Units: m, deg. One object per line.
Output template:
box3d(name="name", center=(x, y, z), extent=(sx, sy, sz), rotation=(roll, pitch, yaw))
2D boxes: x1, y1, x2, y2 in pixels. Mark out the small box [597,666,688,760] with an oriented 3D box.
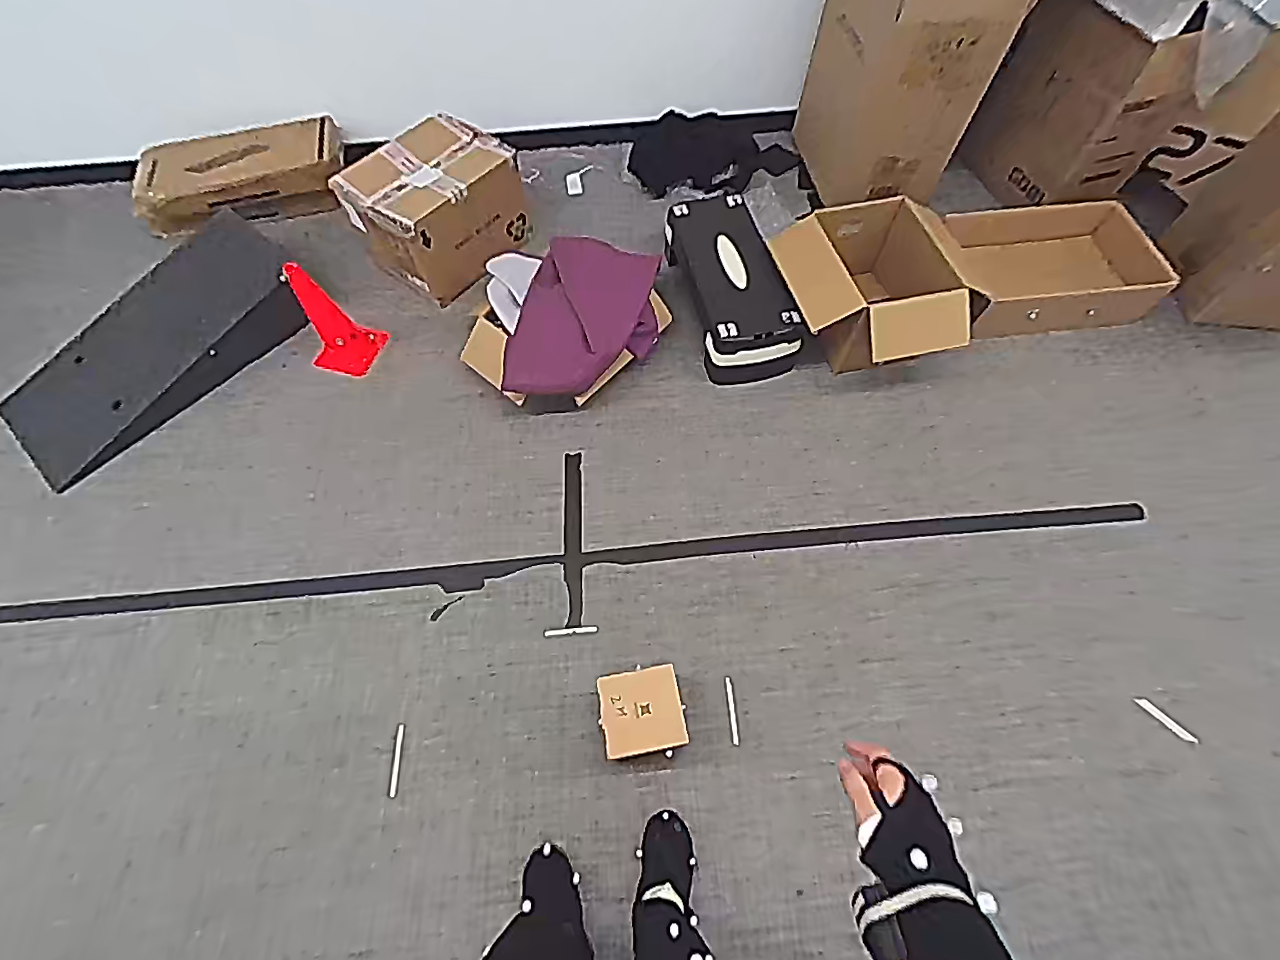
box3d(name="small box", center=(0.004, 0.532, 1.232), extent=(0.179, 0.176, 0.168), rotation=(-10, 62, -4))
